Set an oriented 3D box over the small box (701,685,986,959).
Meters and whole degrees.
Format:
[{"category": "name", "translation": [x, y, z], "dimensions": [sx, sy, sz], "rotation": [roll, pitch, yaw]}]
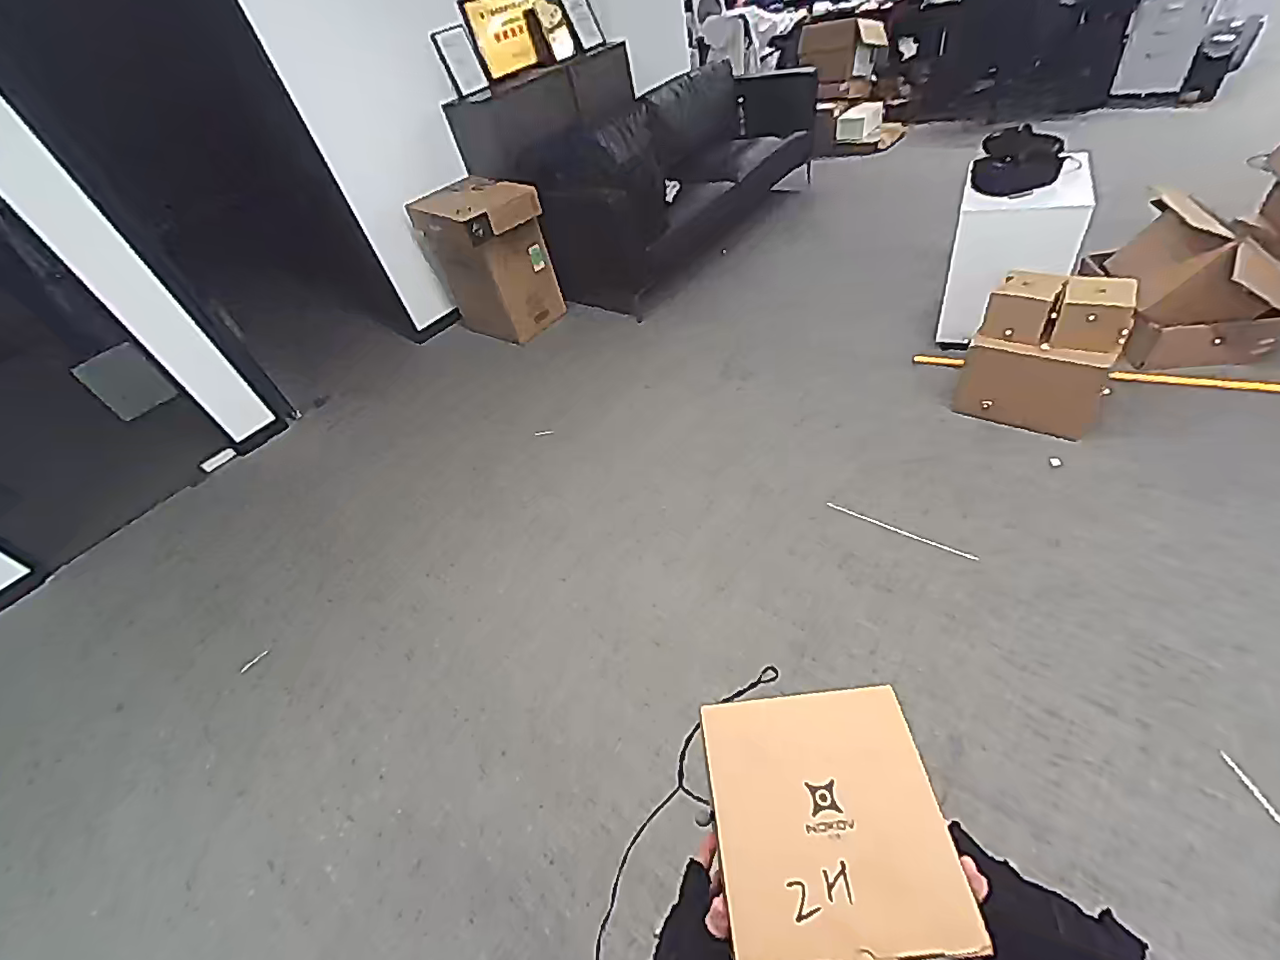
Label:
[{"category": "small box", "translation": [0.143, 0.298, 0.459], "dimensions": [0.168, 0.176, 0.179], "rotation": [-7, 48, 3]}]
